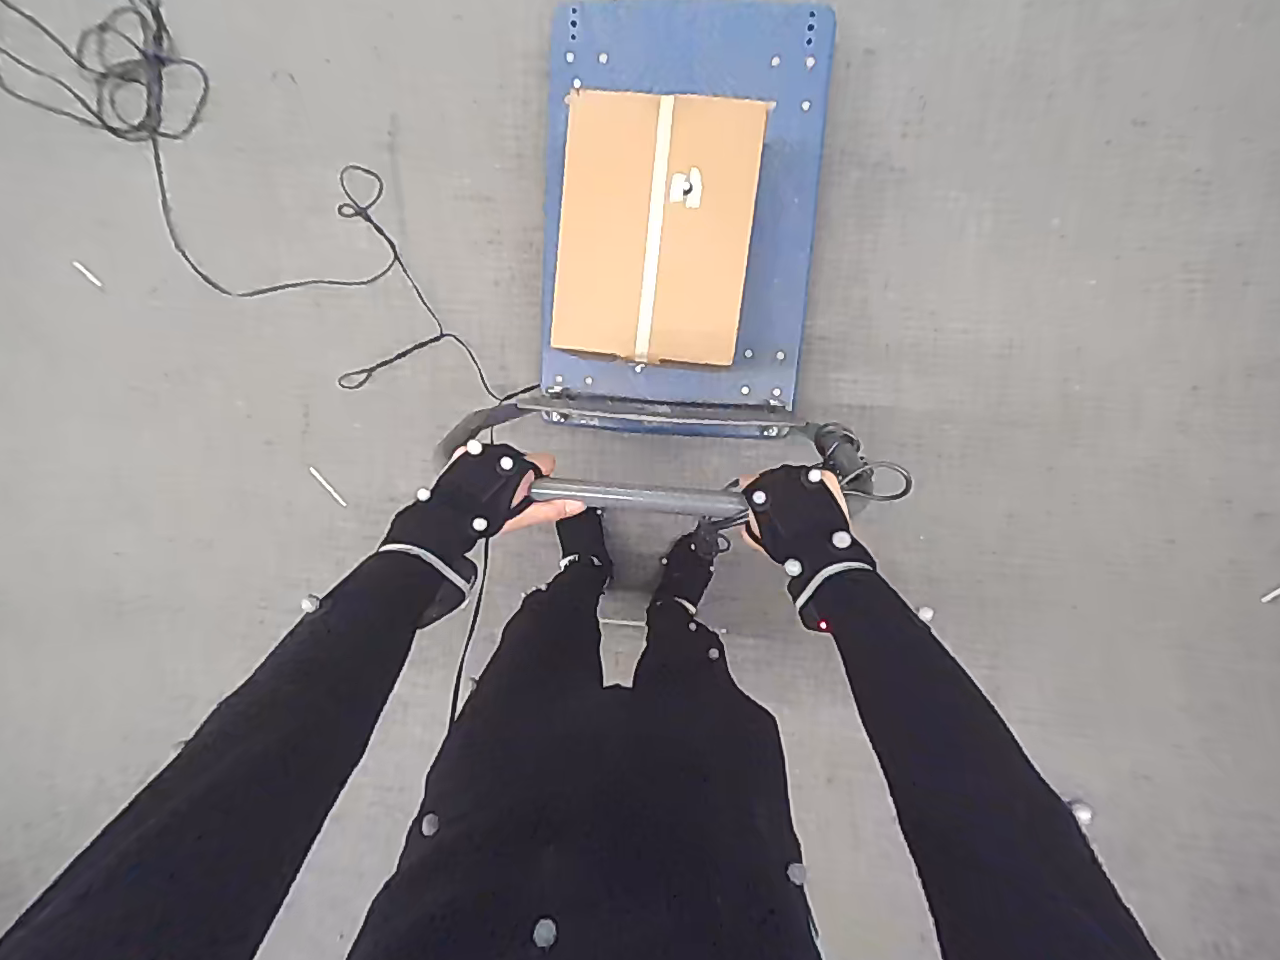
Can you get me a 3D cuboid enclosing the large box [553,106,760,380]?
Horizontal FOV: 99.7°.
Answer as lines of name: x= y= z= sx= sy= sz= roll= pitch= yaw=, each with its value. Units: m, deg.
large box: x=0.034 y=-0.410 z=1.034 sx=0.320 sy=0.320 sz=0.408 roll=7 pitch=99 yaw=3
